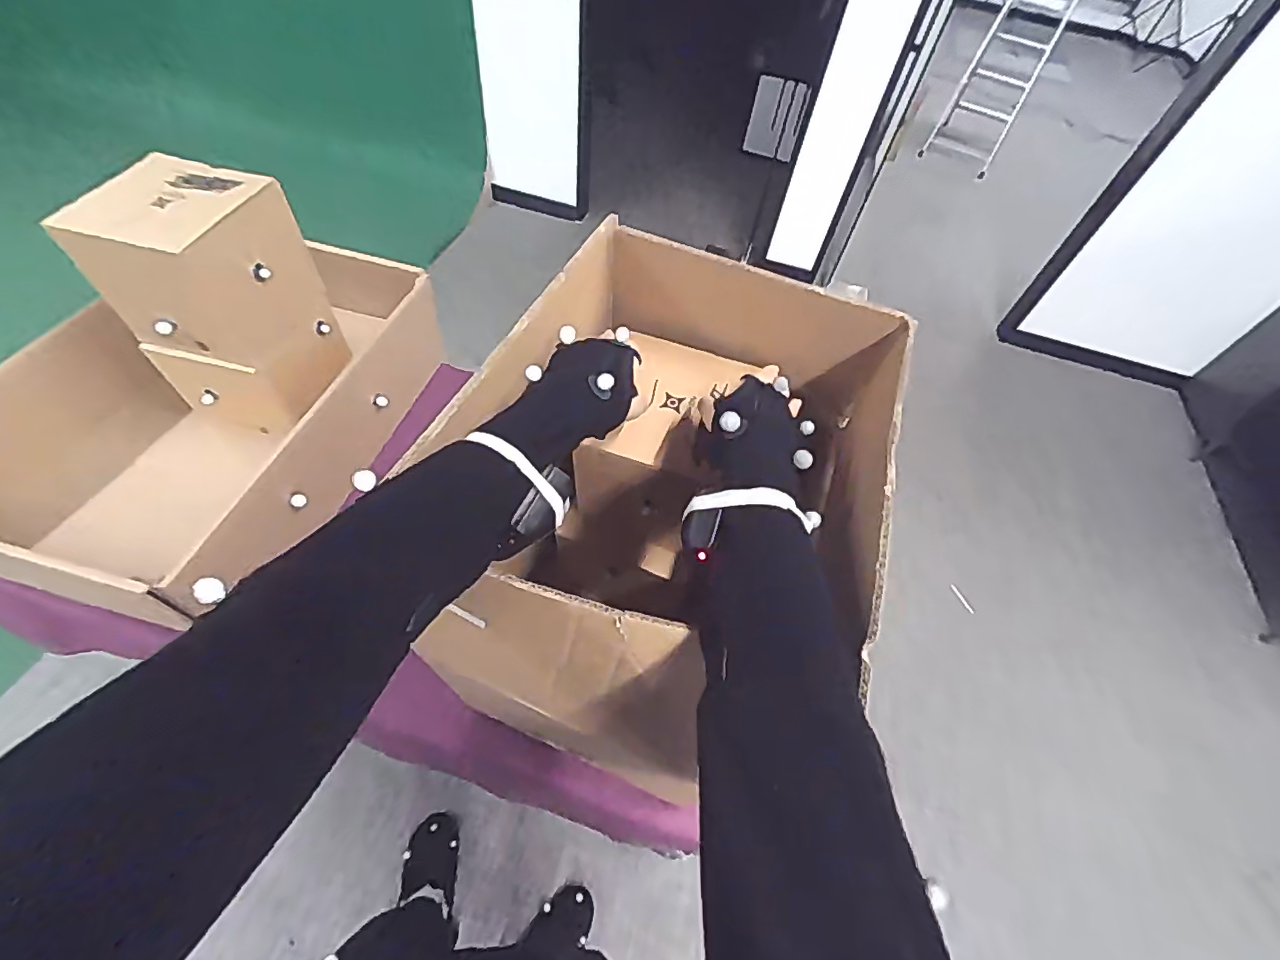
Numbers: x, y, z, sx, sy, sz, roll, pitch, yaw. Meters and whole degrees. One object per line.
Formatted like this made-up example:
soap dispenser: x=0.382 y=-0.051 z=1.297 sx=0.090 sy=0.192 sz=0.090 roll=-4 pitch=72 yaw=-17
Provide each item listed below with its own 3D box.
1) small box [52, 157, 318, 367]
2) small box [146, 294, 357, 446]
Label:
small box: x=-0.555 y=-0.278 z=0.700 sx=0.168 sy=0.176 sz=0.179 roll=13 pitch=56 yaw=4
small box: x=-0.571 y=-0.177 z=0.830 sx=0.168 sy=0.176 sz=0.179 roll=12 pitch=55 yaw=3
